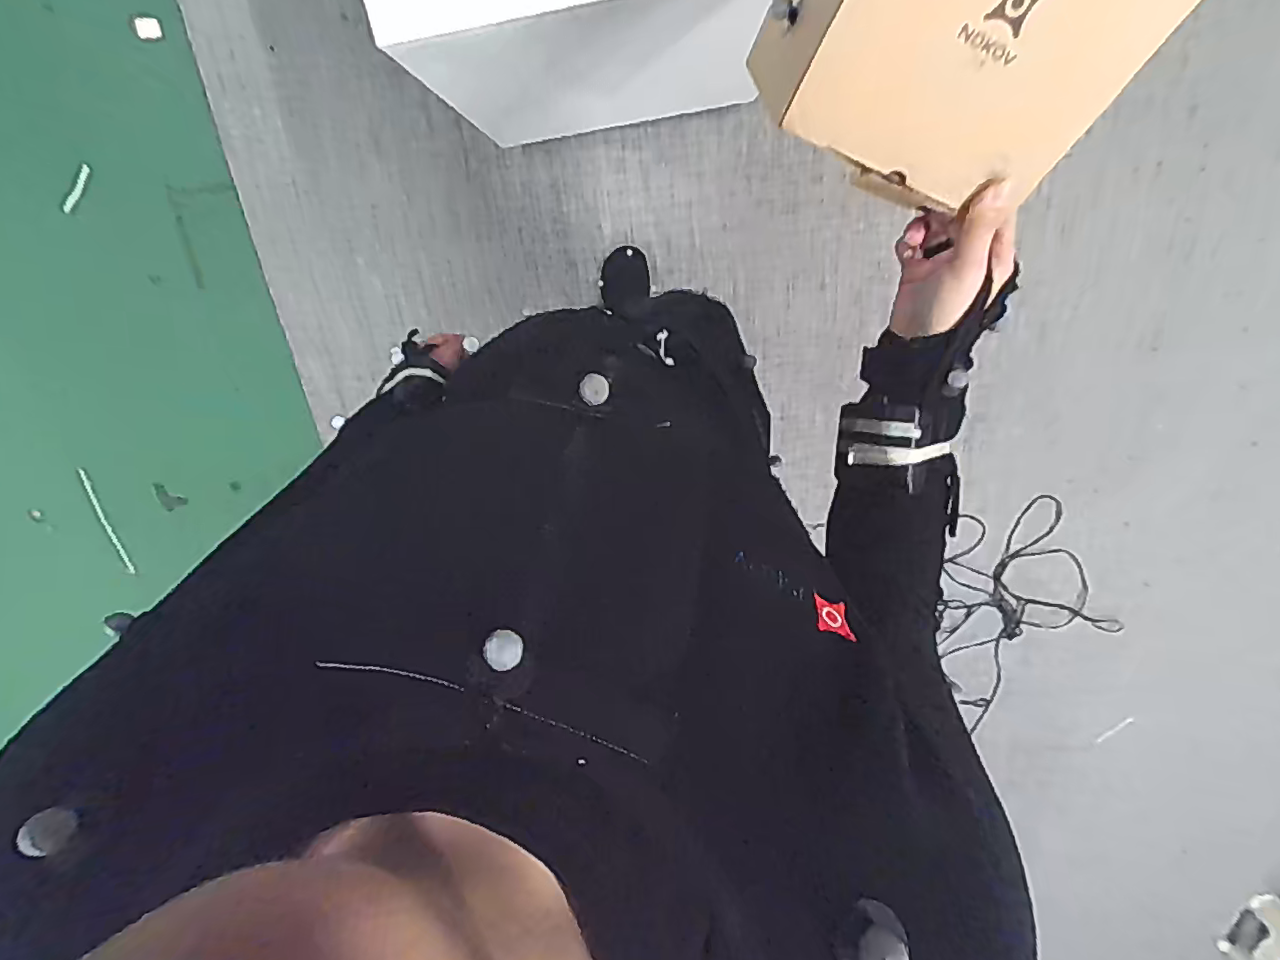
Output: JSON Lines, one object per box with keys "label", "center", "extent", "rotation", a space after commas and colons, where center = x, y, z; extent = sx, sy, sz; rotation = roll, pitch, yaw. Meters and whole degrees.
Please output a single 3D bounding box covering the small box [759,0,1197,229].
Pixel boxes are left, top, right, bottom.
{"label": "small box", "center": [0.186, -0.295, 0.326], "extent": [0.168, 0.176, 0.179], "rotation": [15, 135, -15]}
